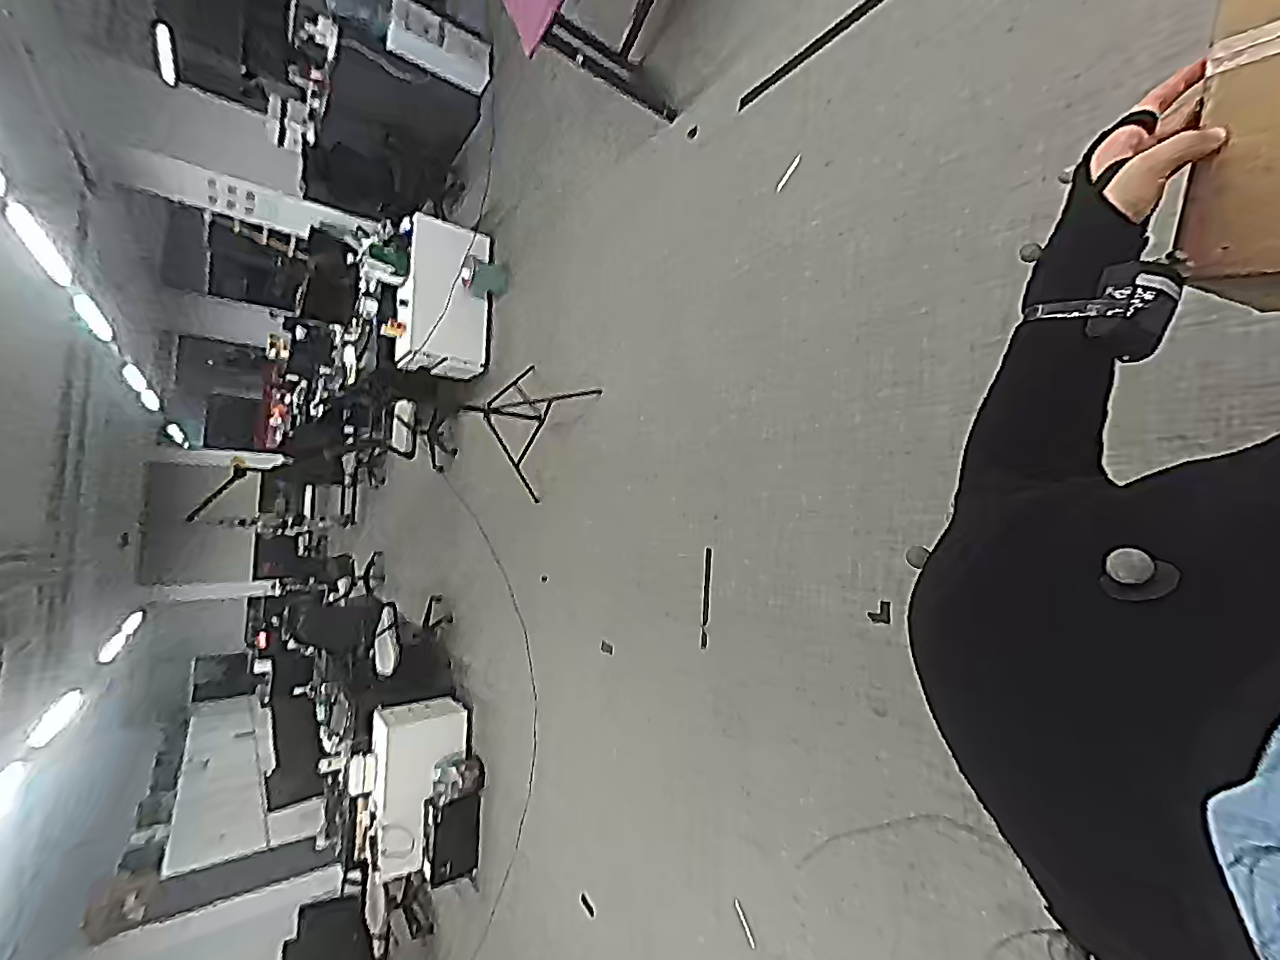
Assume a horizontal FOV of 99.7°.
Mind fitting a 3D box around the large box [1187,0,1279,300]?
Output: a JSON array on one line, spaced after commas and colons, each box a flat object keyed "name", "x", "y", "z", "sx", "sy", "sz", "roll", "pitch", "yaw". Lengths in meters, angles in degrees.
[{"name": "large box", "x": 0.669, "y": -0.293, "z": 0.312, "sx": 0.408, "sy": 0.320, "sz": 0.320, "roll": 19, "pitch": 110, "yaw": 57}]
